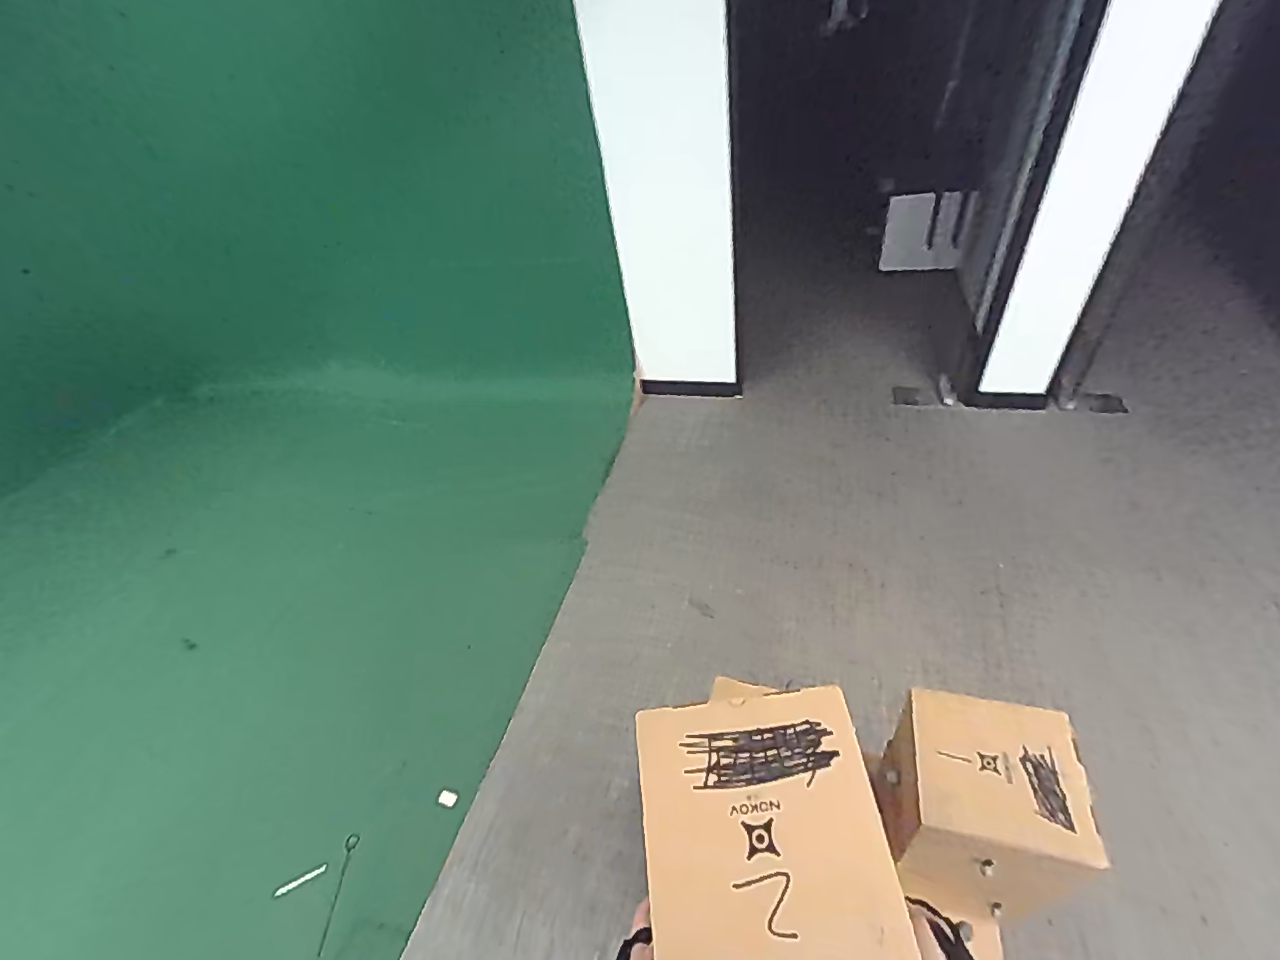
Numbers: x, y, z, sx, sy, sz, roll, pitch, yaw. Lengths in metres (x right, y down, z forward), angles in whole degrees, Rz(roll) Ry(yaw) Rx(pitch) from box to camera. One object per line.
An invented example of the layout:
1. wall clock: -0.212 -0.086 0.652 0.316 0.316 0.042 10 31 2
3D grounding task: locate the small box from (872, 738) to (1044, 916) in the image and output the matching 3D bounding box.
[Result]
1. small box: 0.449 0.511 0.796 0.179 0.176 0.168 4 45 18

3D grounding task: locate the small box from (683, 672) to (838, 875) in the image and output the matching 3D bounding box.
1. small box: 0.165 0.397 0.731 0.168 0.176 0.179 9 47 18

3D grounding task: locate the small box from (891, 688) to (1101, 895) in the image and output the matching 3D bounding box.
1. small box: 0.426 0.394 0.684 0.179 0.176 0.168 5 45 19
